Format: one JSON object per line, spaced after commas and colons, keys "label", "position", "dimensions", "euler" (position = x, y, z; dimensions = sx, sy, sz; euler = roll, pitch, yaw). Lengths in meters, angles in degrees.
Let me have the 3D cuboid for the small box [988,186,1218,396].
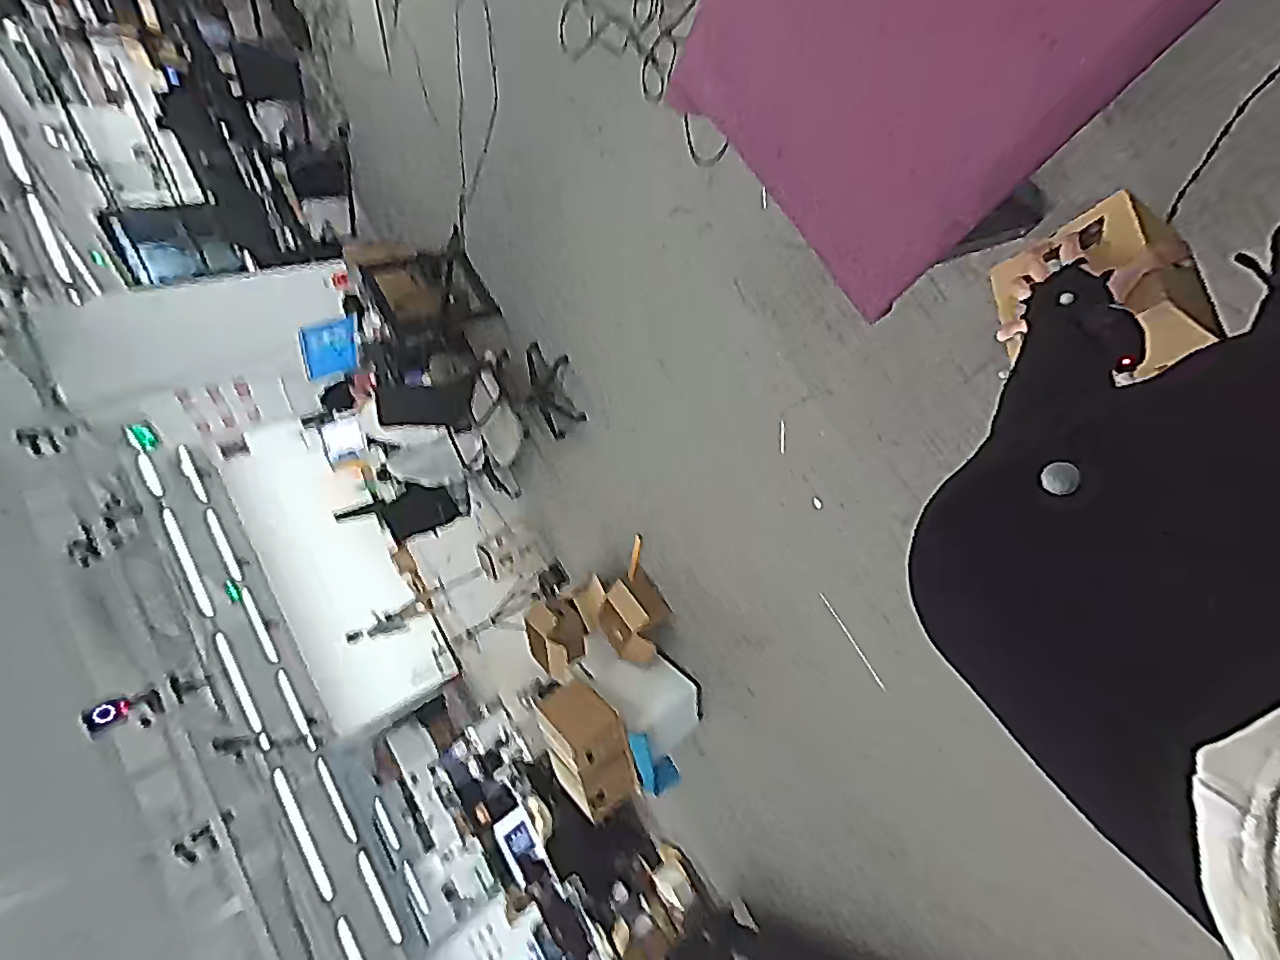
{"label": "small box", "position": [0.612, -0.240, 0.727], "dimensions": [0.168, 0.176, 0.179], "euler": [-32, 50, 56]}
